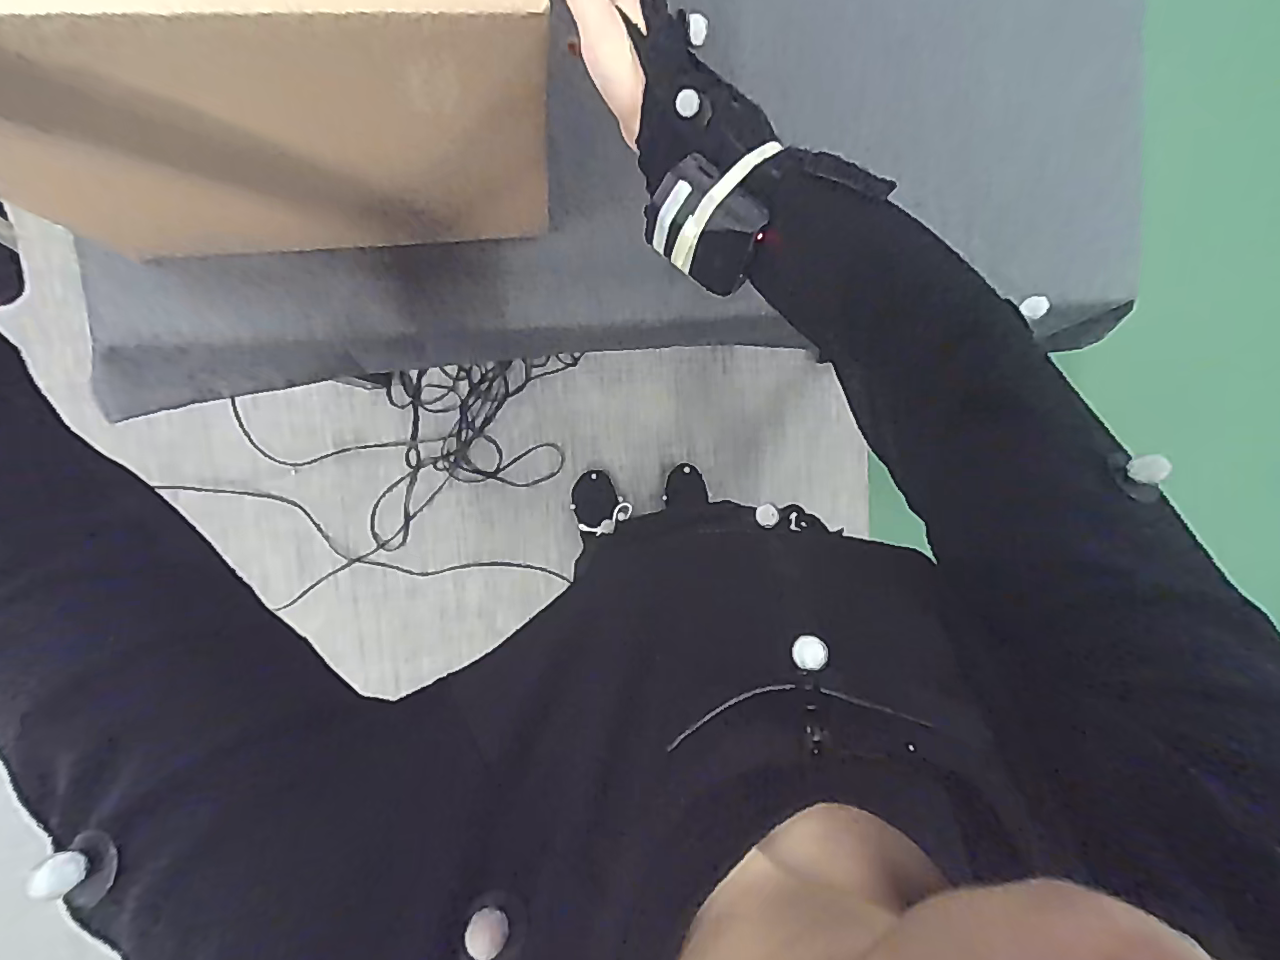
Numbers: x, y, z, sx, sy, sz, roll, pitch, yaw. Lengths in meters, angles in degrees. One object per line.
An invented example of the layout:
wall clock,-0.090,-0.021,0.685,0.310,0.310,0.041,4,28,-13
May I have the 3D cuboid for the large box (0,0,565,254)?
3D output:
large box,-0.282,-0.384,0.389,0.408,0.320,0.320,-9,96,-11
